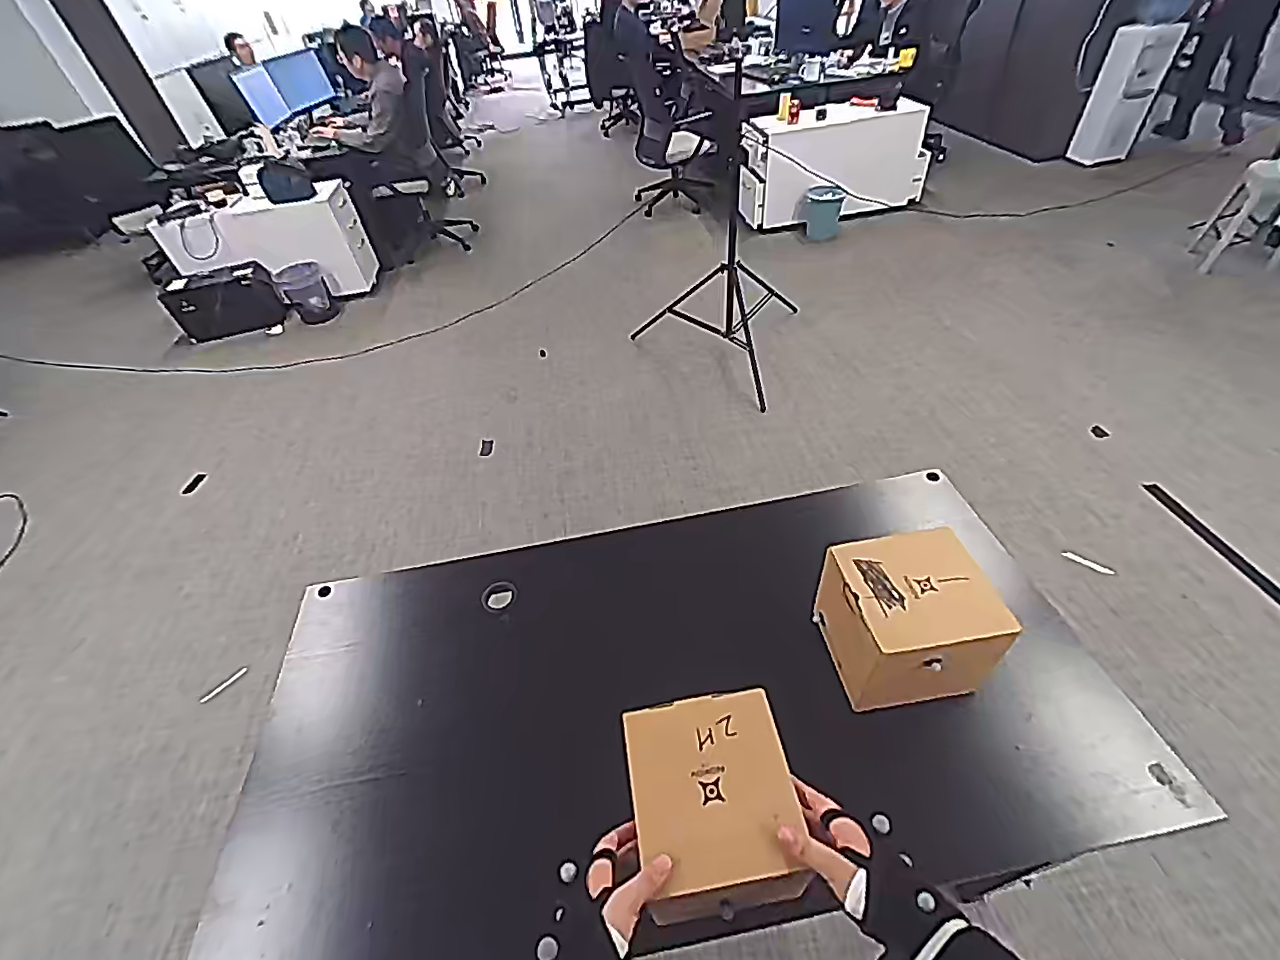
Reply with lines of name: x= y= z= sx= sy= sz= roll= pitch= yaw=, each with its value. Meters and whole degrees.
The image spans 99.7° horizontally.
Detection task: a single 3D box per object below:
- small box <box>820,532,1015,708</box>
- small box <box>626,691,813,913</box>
small box: x=0.365 y=0.199 z=0.757 sx=0.179 sy=0.176 sz=0.168 roll=-9 pitch=45 yaw=-1
small box: x=0.083 y=0.373 z=0.621 sx=0.168 sy=0.176 sz=0.179 roll=-9 pitch=44 yaw=-2
